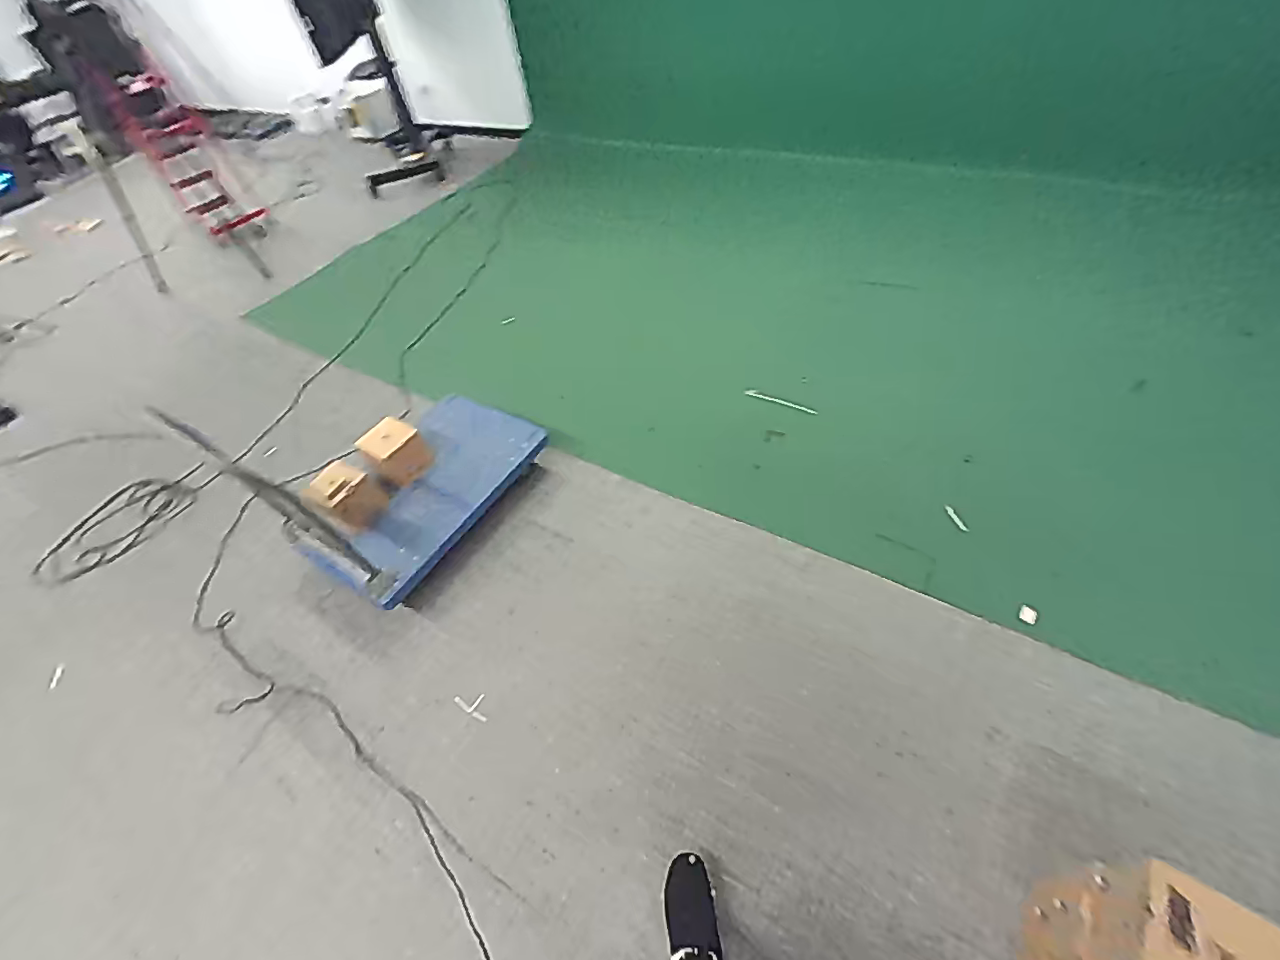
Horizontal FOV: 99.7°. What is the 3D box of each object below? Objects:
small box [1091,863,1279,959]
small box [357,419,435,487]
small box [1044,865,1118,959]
[{"bbox_3d":[0.845,0.742,0.834,0.179,0.176,0.168,25,58,27],"label":"small box"},{"bbox_3d":[-0.917,-0.099,2.046,0.179,0.176,0.168,23,57,25],"label":"small box"},{"bbox_3d":[0.865,0.840,0.966,0.179,0.176,0.168,25,58,29],"label":"small box"}]
